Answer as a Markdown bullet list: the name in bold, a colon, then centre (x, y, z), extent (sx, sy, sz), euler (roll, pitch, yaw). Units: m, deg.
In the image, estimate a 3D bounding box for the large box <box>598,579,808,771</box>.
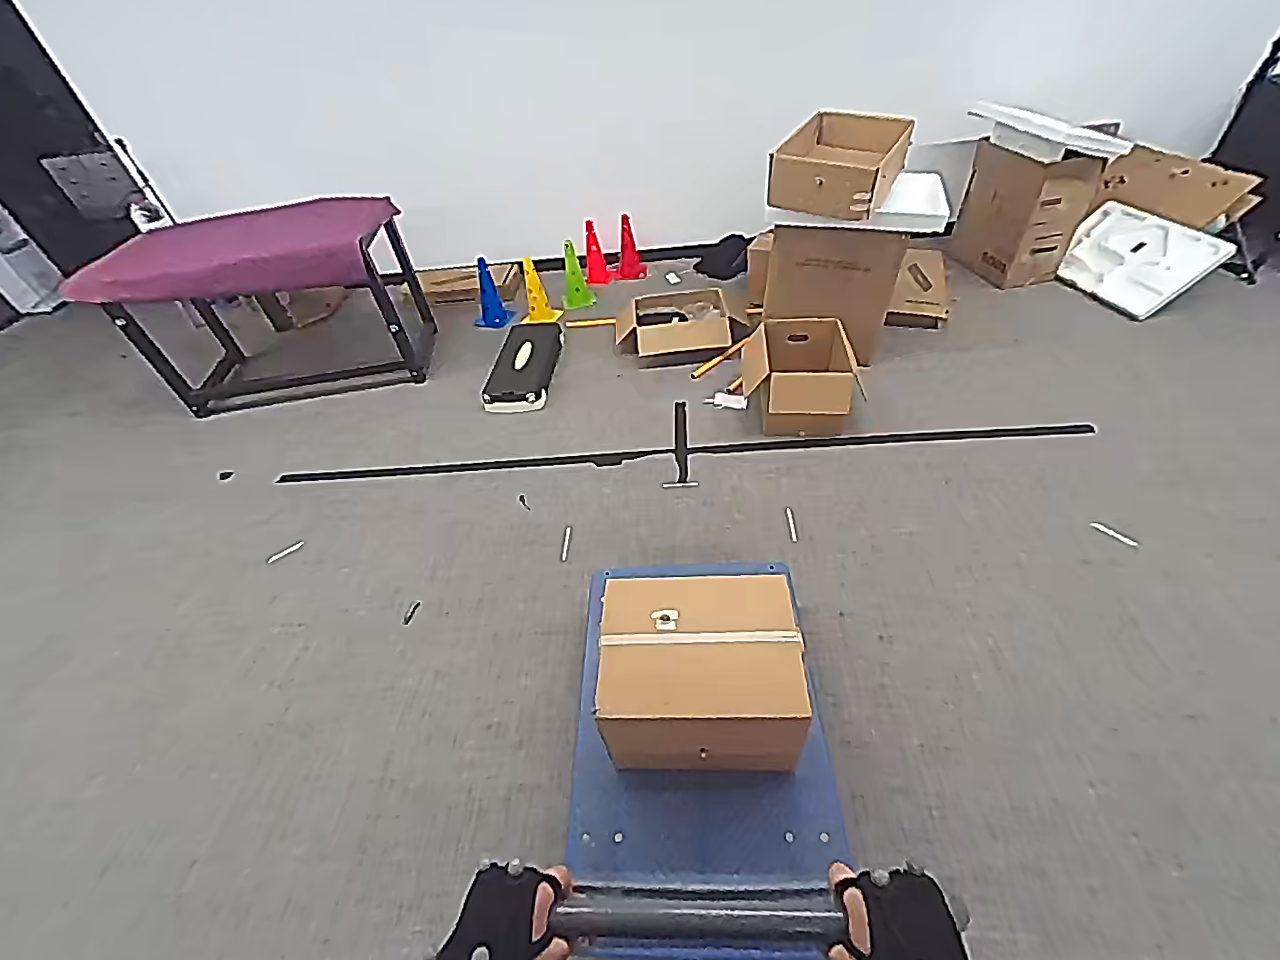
- **large box**: centre (0.136, 0.447, 1.227), extent (0.408, 0.320, 0.320), euler (-4, 44, 6)
